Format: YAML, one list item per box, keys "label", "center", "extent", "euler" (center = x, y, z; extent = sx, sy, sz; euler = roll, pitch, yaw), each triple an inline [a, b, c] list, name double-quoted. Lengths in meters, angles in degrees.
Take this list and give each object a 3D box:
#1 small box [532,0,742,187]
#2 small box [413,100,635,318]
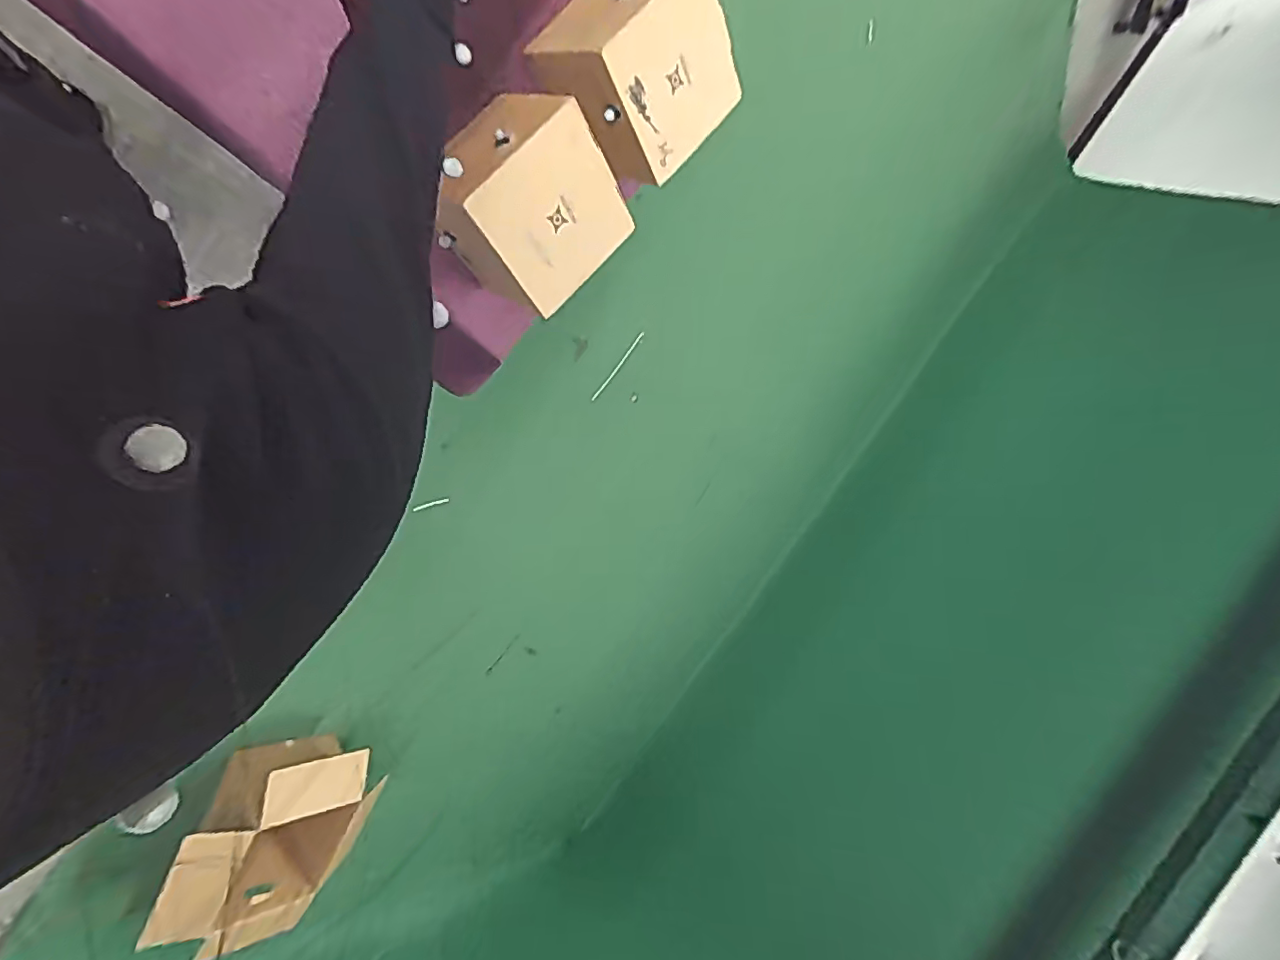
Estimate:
- label: "small box"
  center: [-0.003, -0.515, 0.691]
  extent: [0.179, 0.176, 0.168]
  euler: [-50, 143, -6]
- label: "small box"
  center: [-0.144, -0.342, 0.676]
  extent: [0.179, 0.176, 0.168]
  euler: [-48, 142, -8]
